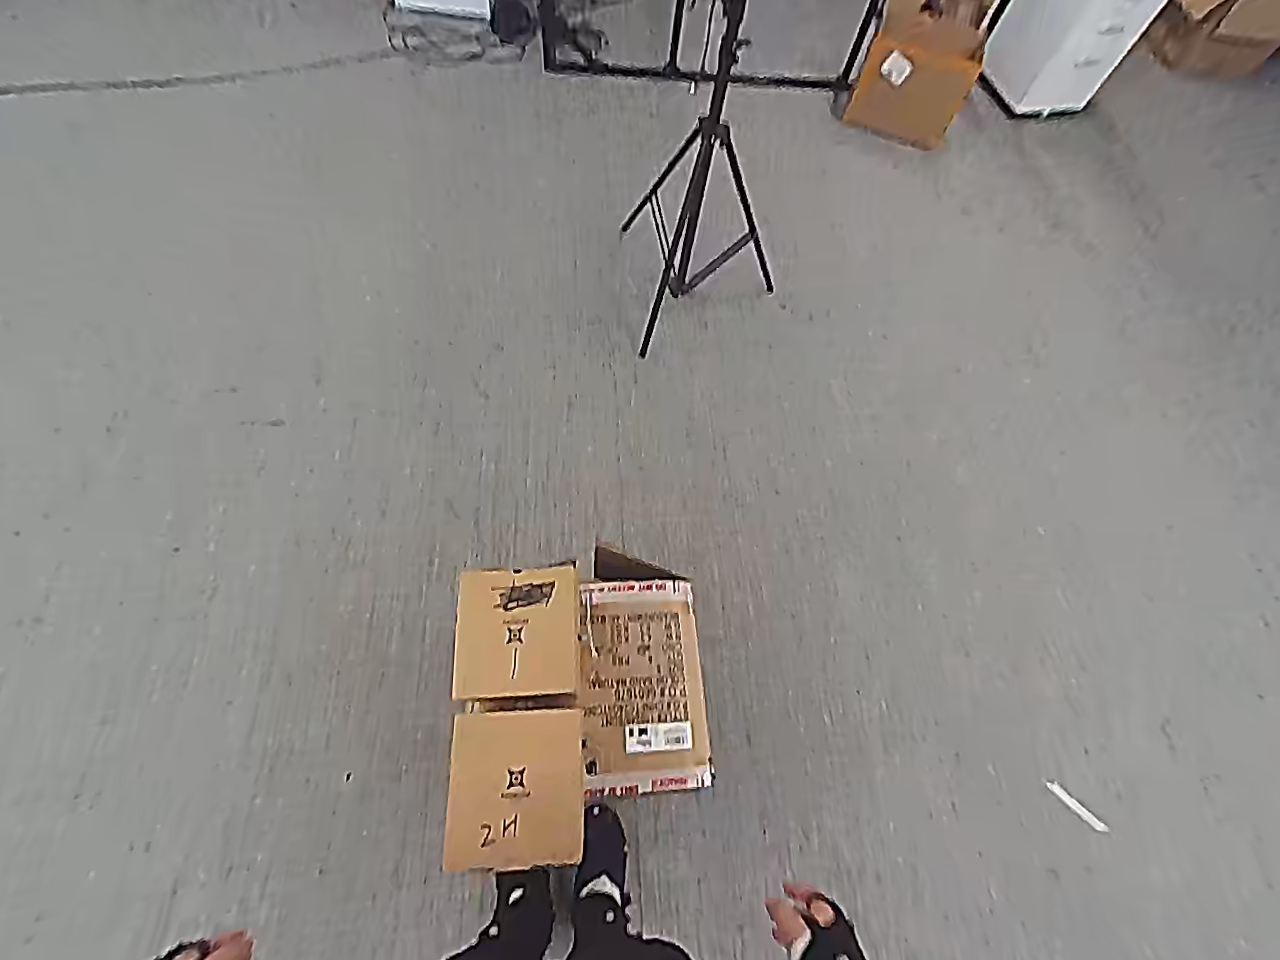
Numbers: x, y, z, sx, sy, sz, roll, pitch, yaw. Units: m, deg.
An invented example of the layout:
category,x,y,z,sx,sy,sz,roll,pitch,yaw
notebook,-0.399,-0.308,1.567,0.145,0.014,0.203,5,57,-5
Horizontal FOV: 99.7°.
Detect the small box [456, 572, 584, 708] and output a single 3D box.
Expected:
category,x,y,z,sx,sy,sz,roll,pitch,yaw
small box,-0.172,0.249,0.828,0.168,0.176,0.179,-2,67,-4
